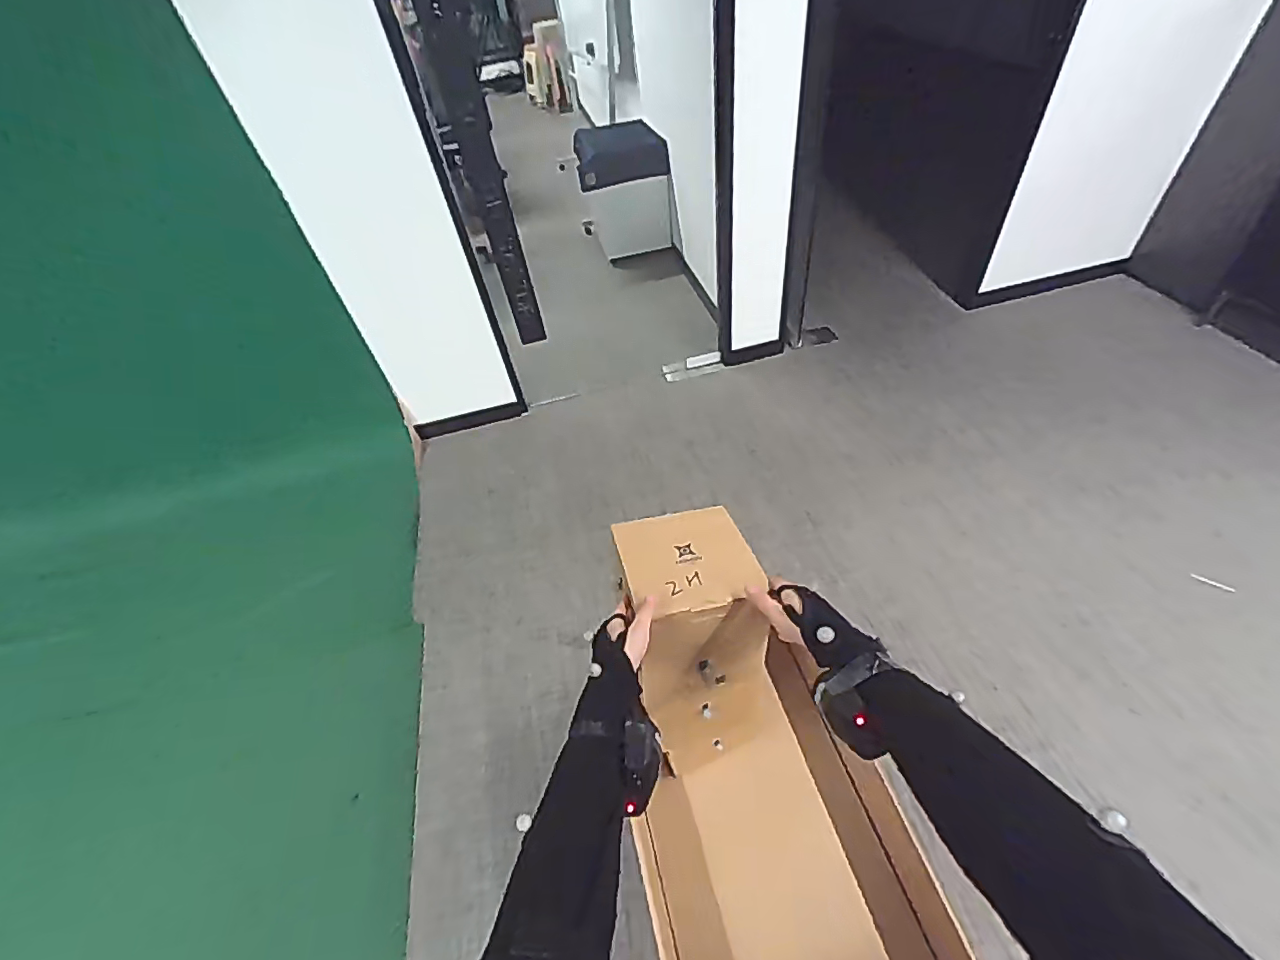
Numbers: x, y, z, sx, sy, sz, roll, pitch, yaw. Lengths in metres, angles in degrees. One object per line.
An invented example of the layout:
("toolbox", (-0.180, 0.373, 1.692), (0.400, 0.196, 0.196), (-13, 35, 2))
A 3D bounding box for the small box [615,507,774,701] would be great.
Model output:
("small box", (0.062, 0.163, 0.730), (0.168, 0.176, 0.179), (-9, 35, -9))

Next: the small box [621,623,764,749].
("small box", (0.084, 0.306, 0.878), (0.179, 0.176, 0.168), (-19, 48, -7))
